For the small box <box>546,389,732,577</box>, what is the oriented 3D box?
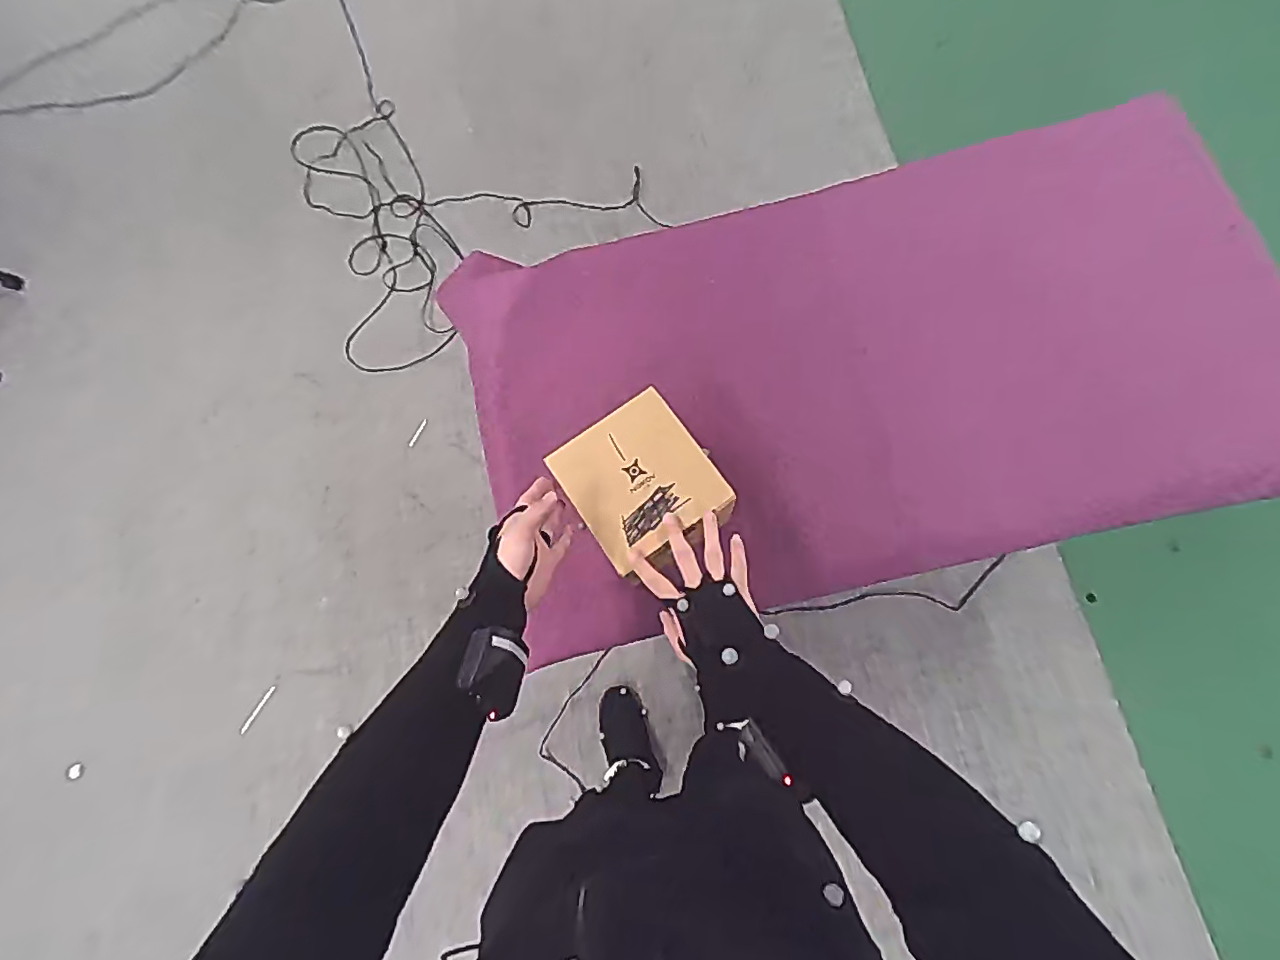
[{"bbox_3d":[0.005,0.016,0.723,0.168,0.176,0.179,-34,74,-4],"label":"small box"}]
